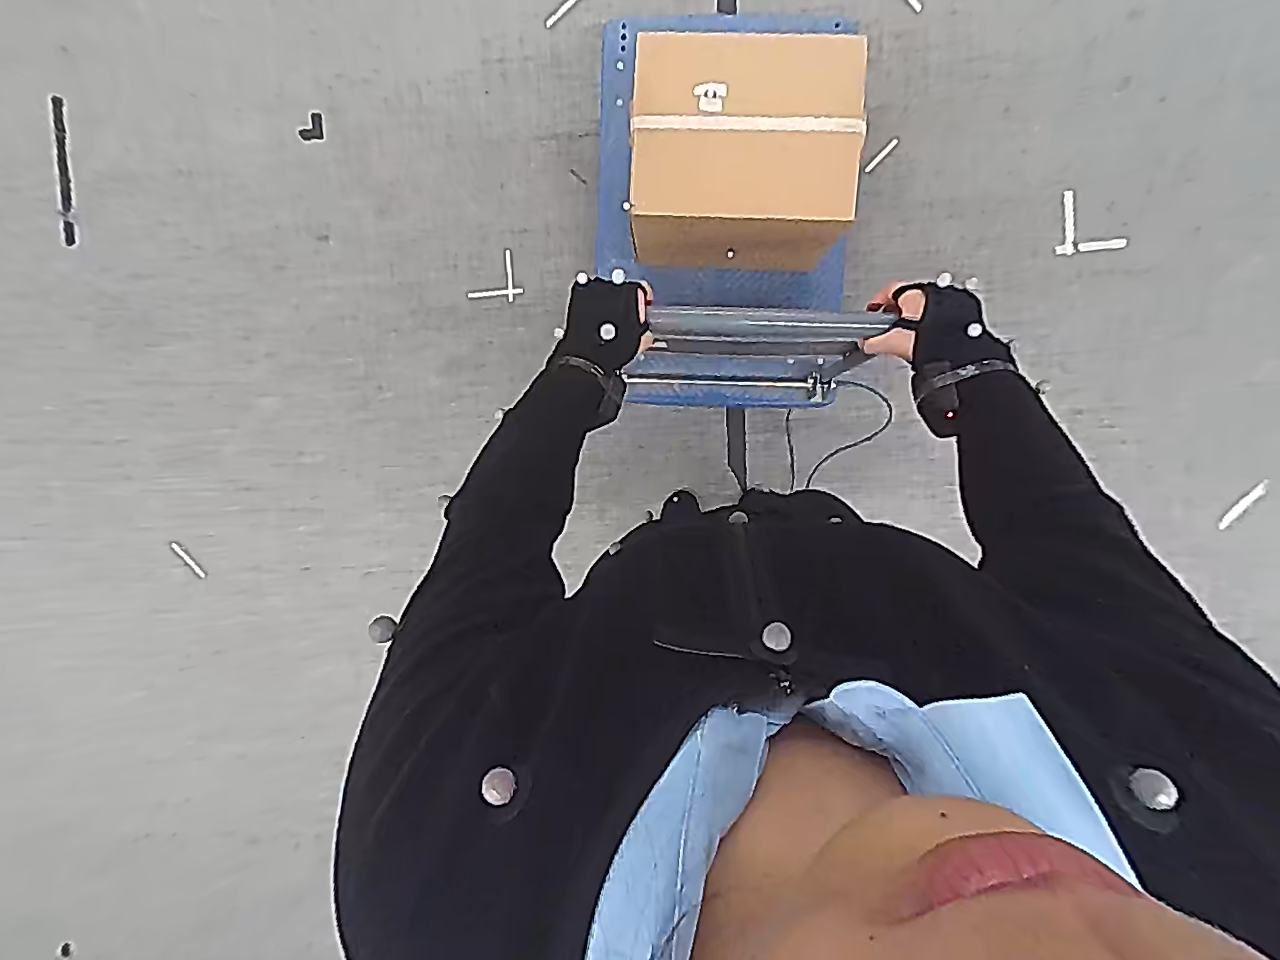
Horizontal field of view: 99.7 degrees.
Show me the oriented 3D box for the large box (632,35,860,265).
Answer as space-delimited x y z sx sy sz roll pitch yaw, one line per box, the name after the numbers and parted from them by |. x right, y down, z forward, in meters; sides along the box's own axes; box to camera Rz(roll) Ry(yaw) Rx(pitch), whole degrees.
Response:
0.200 -0.650 1.125 0.408 0.320 0.320 3 94 4 | large box
